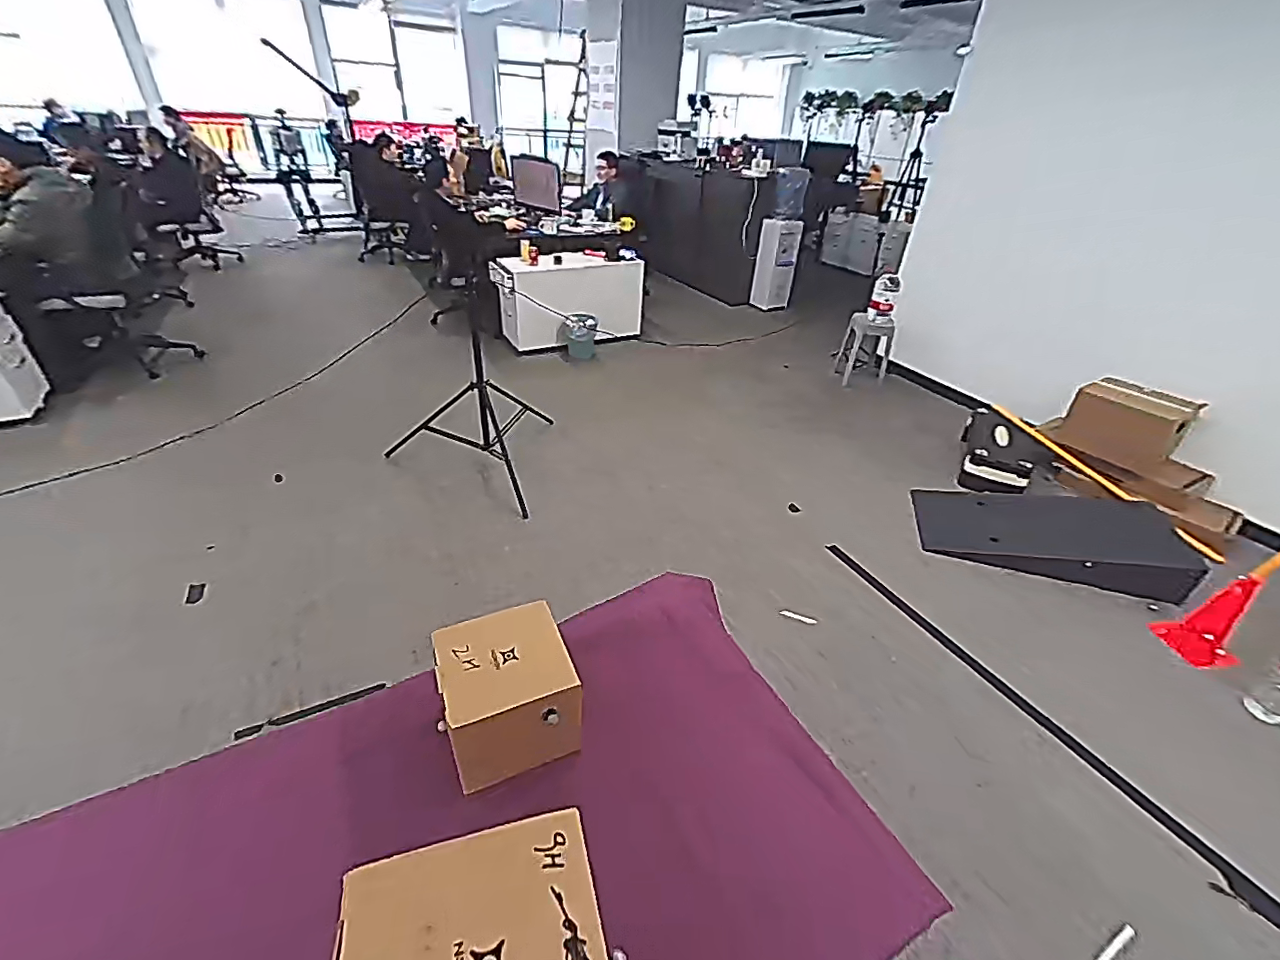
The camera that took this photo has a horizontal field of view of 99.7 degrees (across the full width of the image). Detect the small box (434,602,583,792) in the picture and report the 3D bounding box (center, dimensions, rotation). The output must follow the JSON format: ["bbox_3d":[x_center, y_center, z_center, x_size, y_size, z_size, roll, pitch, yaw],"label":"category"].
[{"bbox_3d":[-0.193,0.317,0.800,0.179,0.176,0.168,-13,38,-22],"label":"small box"}]

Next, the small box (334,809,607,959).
[{"bbox_3d":[-0.115,0.388,0.402,0.179,0.176,0.168,-6,38,-16],"label":"small box"}]
